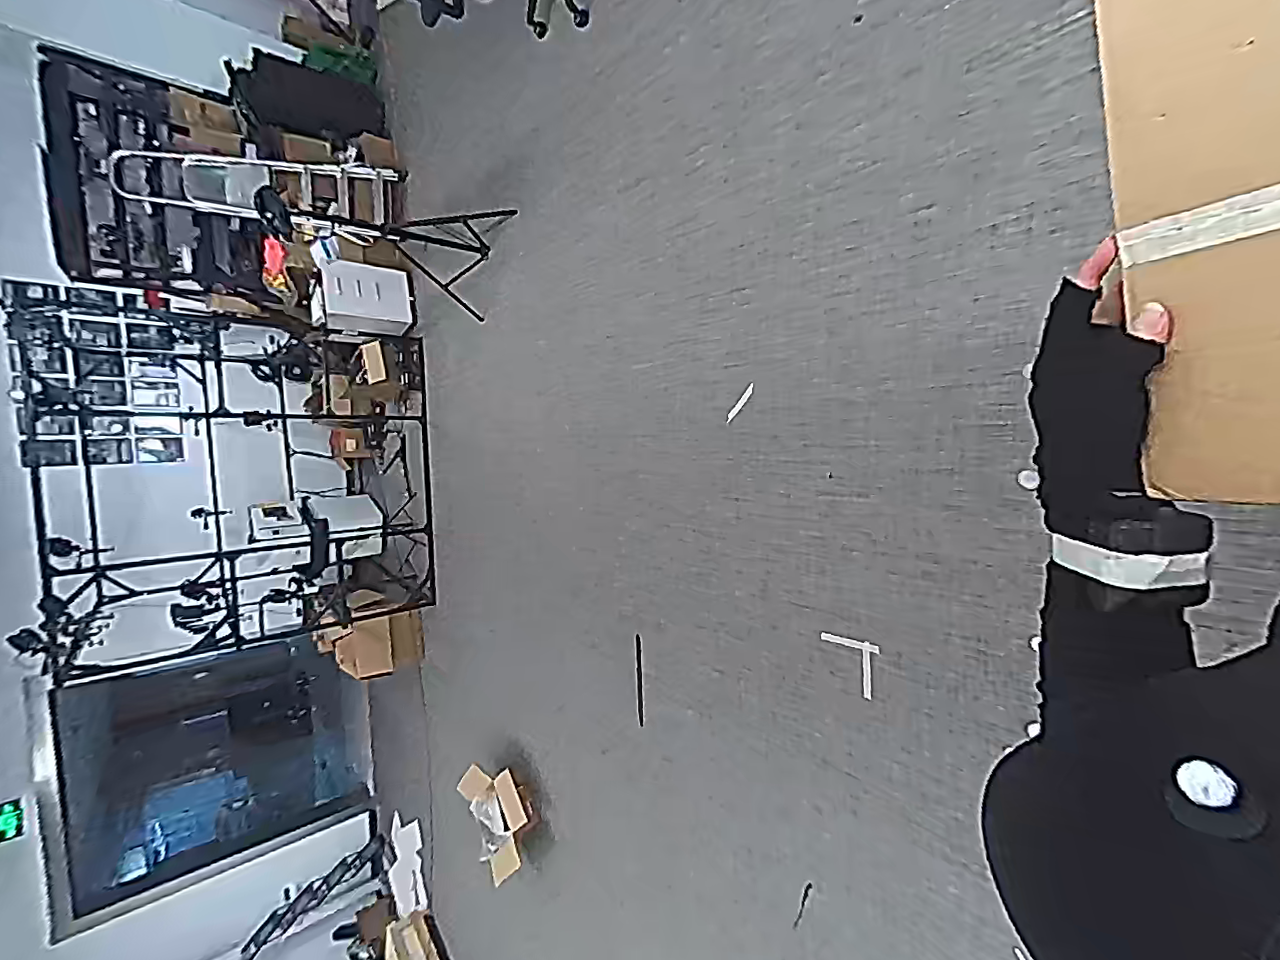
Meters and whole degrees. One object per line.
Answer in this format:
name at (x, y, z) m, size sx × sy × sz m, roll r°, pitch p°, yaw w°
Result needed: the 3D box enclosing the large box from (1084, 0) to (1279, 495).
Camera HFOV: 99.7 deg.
large box at (0.510, -0.181, 0.224) m, size 0.408 × 0.320 × 0.320 m, roll 2°, pitch 107°, yaw 61°
